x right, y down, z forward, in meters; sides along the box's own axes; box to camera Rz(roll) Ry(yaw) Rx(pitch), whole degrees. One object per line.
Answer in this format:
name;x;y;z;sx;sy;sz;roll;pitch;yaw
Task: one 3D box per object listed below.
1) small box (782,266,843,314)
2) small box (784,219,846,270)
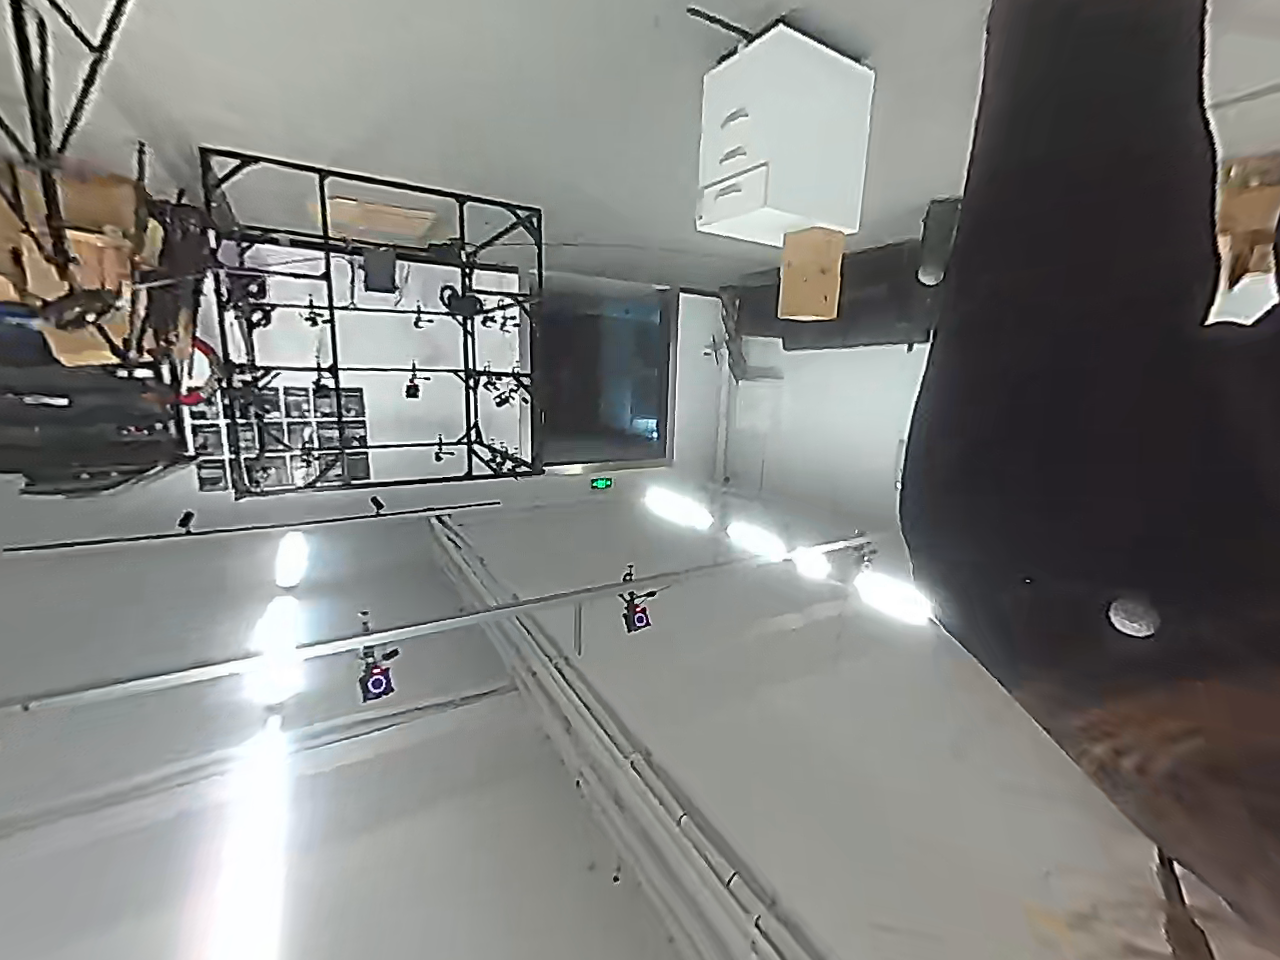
small box;0.711;-0.783;2.224;0.179;0.176;0.168;-7;-164;-31
small box;0.711;-0.944;2.191;0.168;0.176;0.179;-6;-165;-30
